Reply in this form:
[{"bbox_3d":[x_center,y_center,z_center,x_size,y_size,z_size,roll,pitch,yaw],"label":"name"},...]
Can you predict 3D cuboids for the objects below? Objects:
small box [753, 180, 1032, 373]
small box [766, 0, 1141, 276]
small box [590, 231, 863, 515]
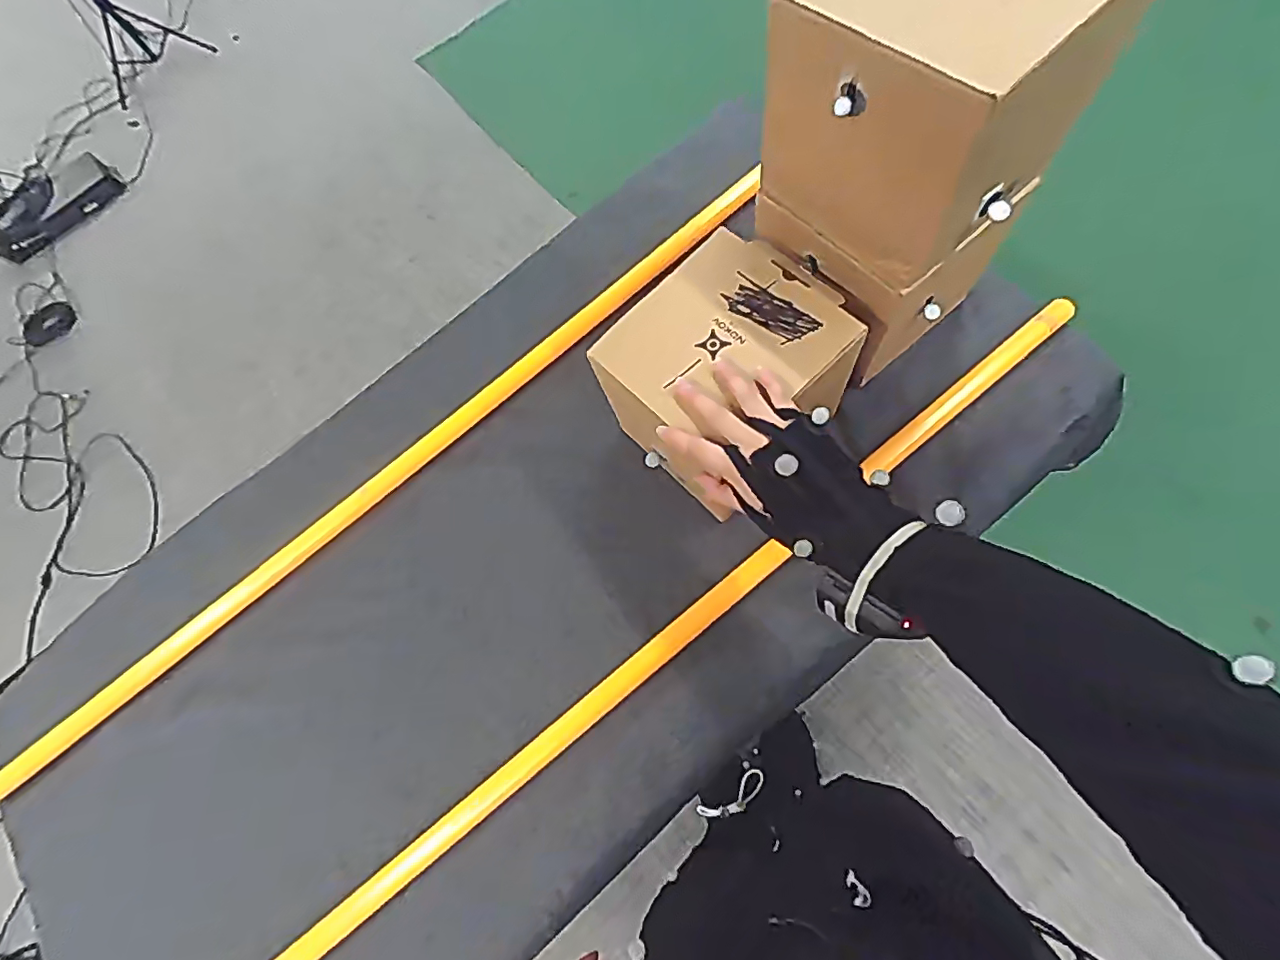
[{"bbox_3d":[0.236,-0.236,0.559,0.168,0.176,0.179,-40,69,-5],"label":"small box"},{"bbox_3d":[0.211,-0.294,0.409,0.168,0.176,0.179,-42,70,-4],"label":"small box"},{"bbox_3d":[0.081,-0.093,0.535,0.179,0.176,0.168,-44,70,-6],"label":"small box"}]
